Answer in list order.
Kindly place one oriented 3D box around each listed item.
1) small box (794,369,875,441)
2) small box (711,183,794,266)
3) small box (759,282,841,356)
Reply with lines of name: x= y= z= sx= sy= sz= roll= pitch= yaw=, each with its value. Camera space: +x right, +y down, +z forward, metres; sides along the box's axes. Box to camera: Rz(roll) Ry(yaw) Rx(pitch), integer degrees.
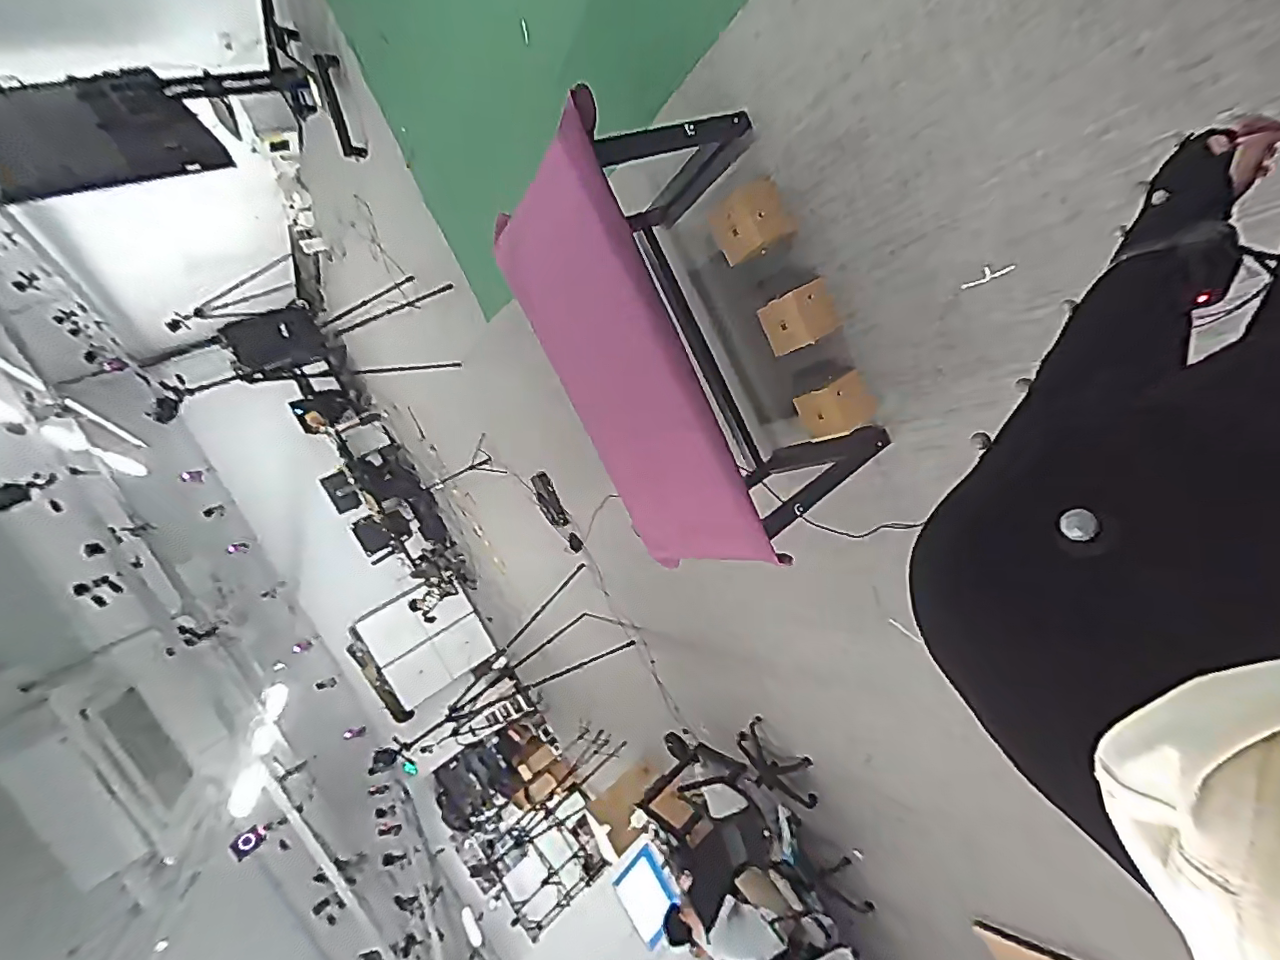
small box: x=0.677 y=-0.257 z=1.870 sx=0.168 sy=0.176 sz=0.179 roll=-14 pitch=105 yaw=60
small box: x=0.375 y=-0.846 z=1.785 sx=0.168 sy=0.176 sz=0.179 roll=-19 pitch=101 yaw=60
small box: x=0.539 y=-0.546 z=1.814 sx=0.168 sy=0.176 sz=0.179 roll=-11 pitch=108 yaw=60
